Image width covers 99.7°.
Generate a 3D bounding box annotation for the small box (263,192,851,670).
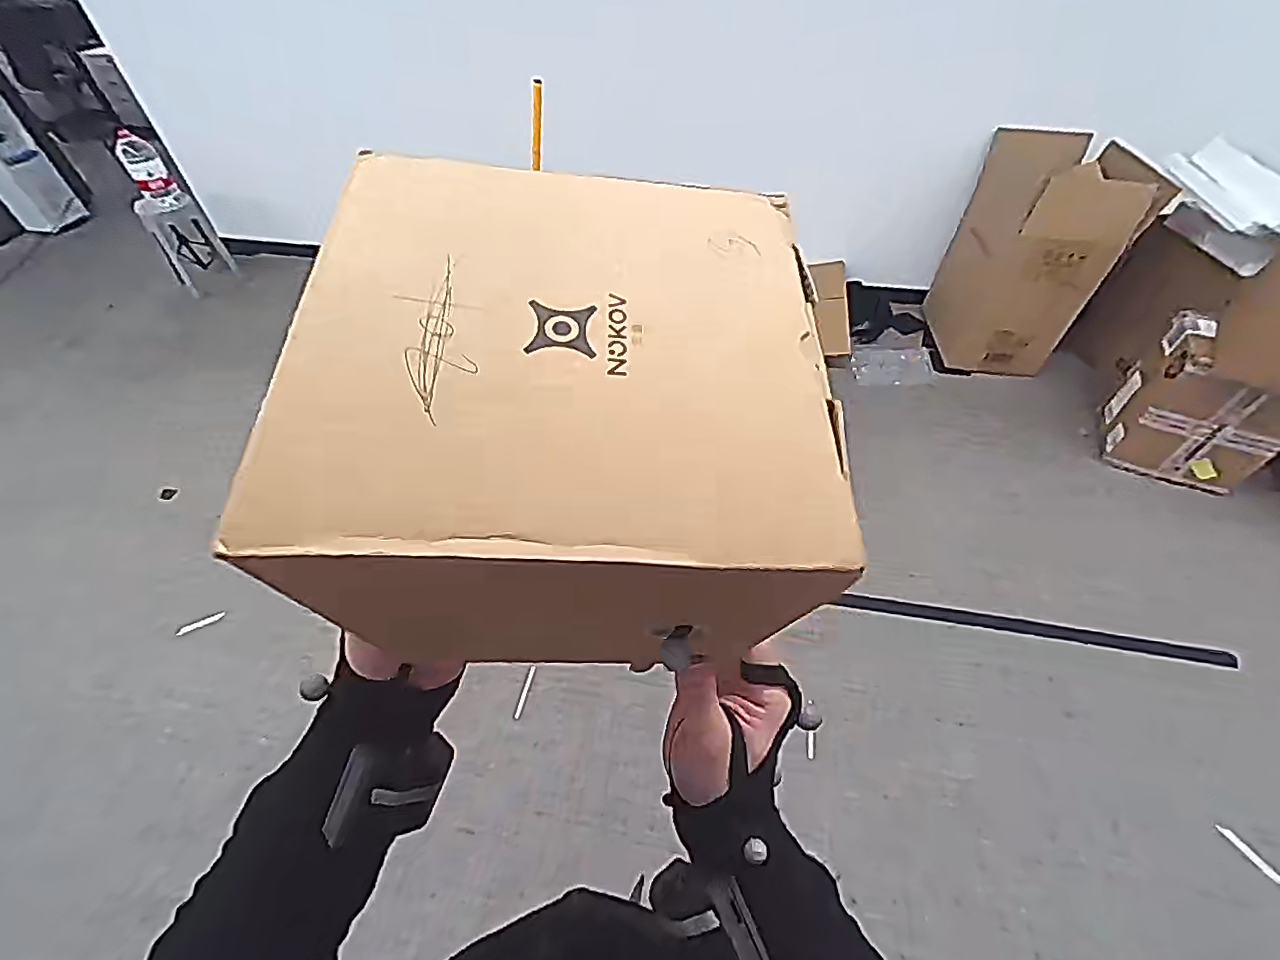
[{"bbox_3d":[-0.030,-0.007,0.266,0.179,0.176,0.168,0,61,-6],"label":"small box"}]
